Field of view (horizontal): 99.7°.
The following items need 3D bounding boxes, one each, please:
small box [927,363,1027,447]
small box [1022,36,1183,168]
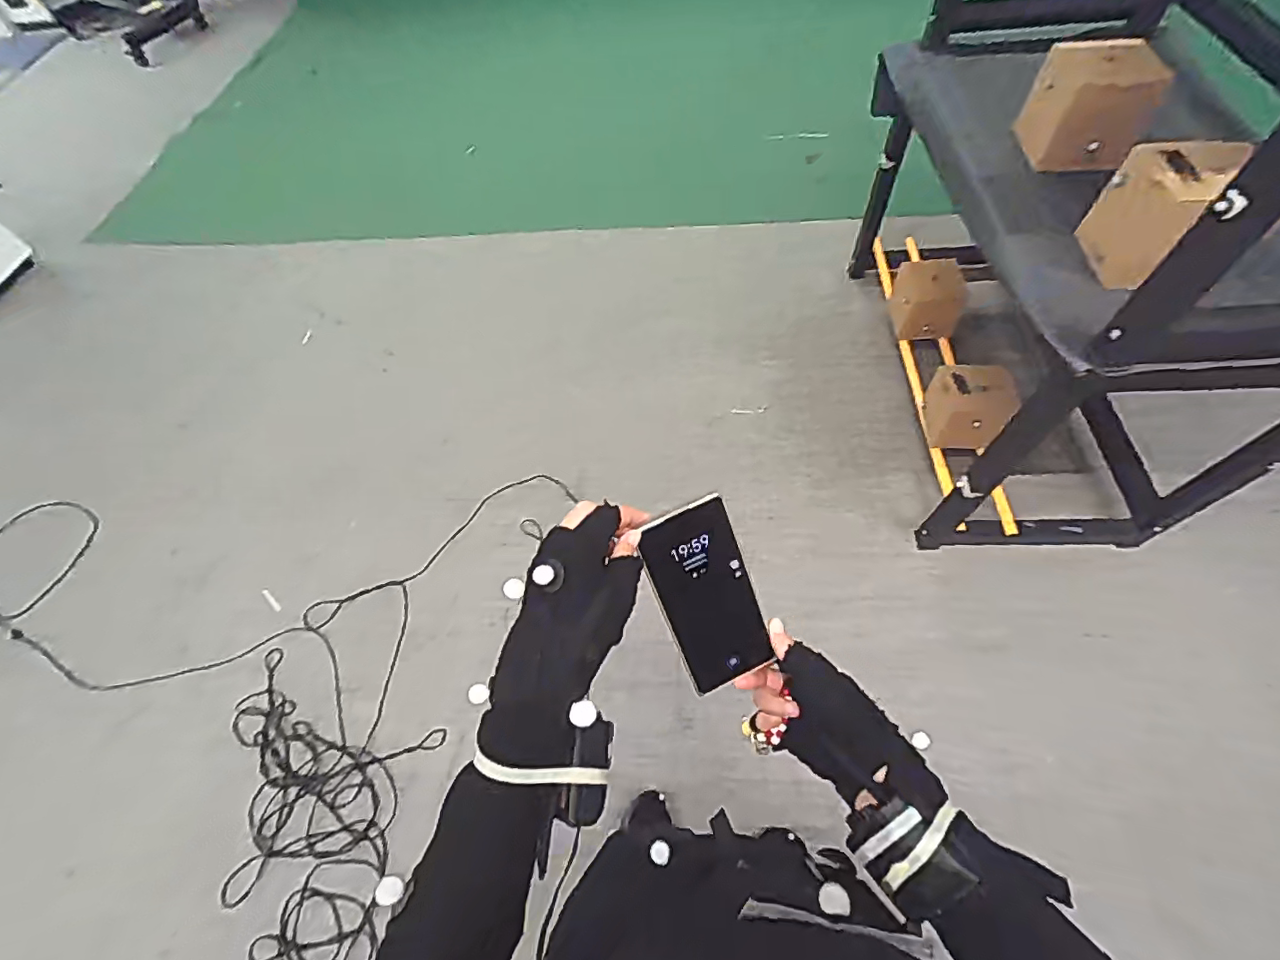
[{"bbox_3d":[0.919,-0.204,1.498,0.179,0.176,0.168,2,60,7],"label":"small box"},{"bbox_3d":[0.926,-0.770,1.108,0.168,0.176,0.179,2,59,7],"label":"small box"}]
